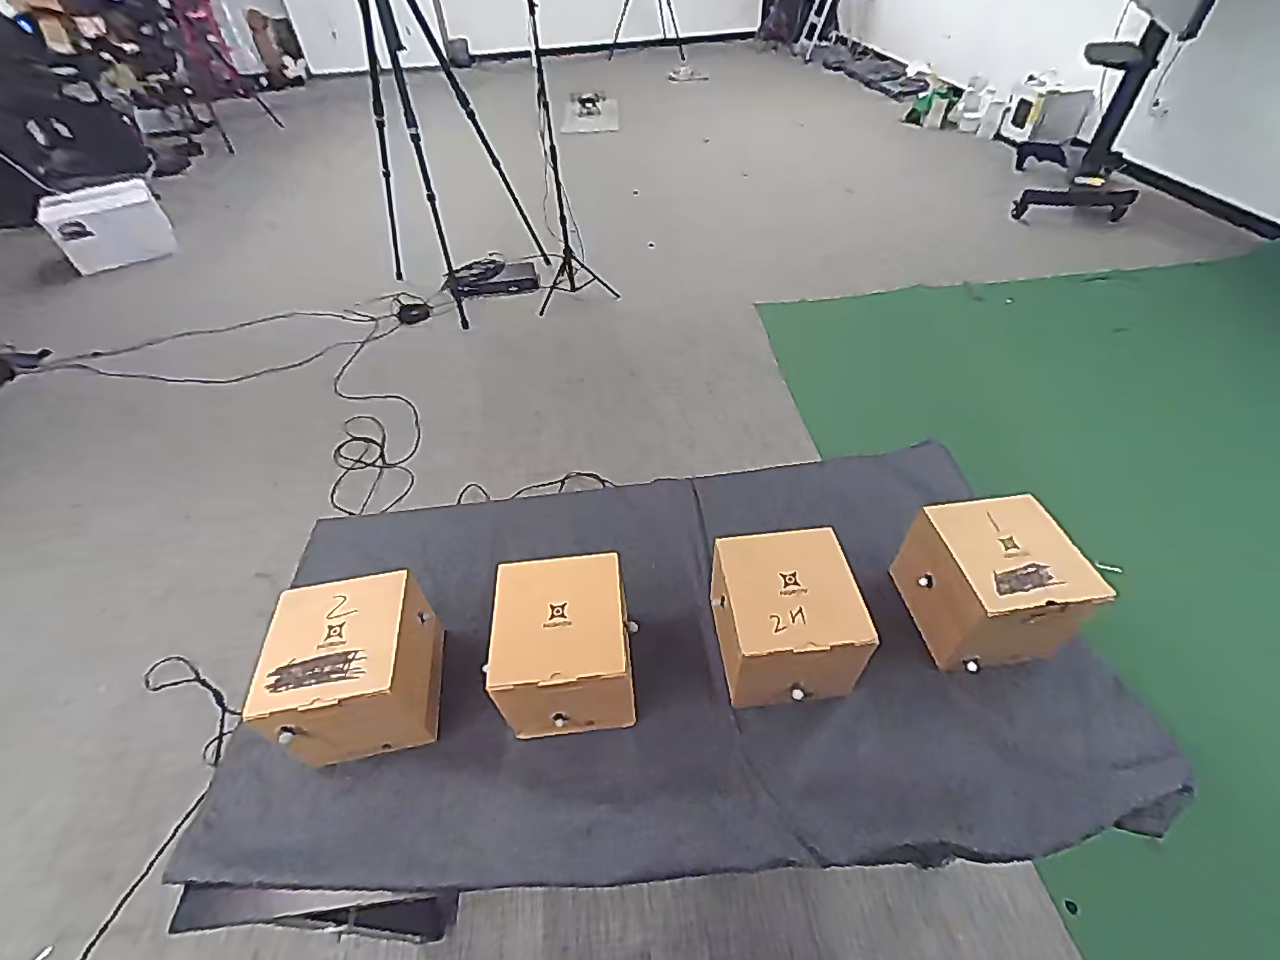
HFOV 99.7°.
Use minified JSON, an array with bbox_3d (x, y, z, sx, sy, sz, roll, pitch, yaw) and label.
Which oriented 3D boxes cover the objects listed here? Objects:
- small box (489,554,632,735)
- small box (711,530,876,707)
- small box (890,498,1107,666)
[{"bbox_3d":[-0.100,0.225,0.741,0.168,0.176,0.179,-5,48,-3],"label":"small box"},{"bbox_3d":[0.197,0.193,0.754,0.168,0.176,0.179,-5,47,-2],"label":"small box"},{"bbox_3d":[0.492,0.152,0.778,0.168,0.176,0.179,-6,47,-3],"label":"small box"}]
